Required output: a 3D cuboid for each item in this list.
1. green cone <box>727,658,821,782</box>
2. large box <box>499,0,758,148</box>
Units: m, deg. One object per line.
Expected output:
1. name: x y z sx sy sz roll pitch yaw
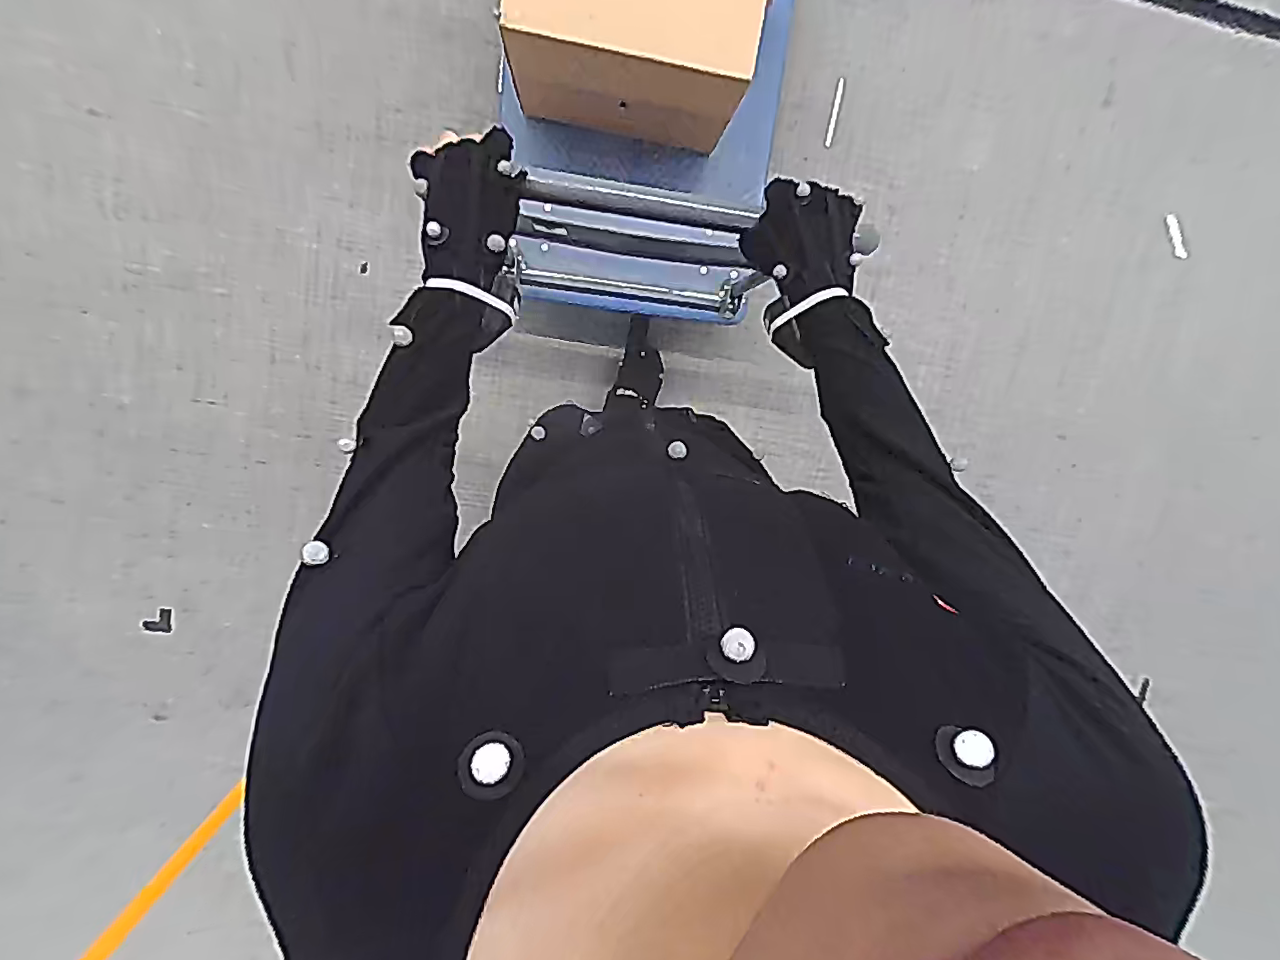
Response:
1. green cone: 0.394 0.677 1.474 0.202 0.368 0.200 12 100 -9
2. large box: -0.013 -0.850 0.975 0.408 0.320 0.320 8 101 -6
